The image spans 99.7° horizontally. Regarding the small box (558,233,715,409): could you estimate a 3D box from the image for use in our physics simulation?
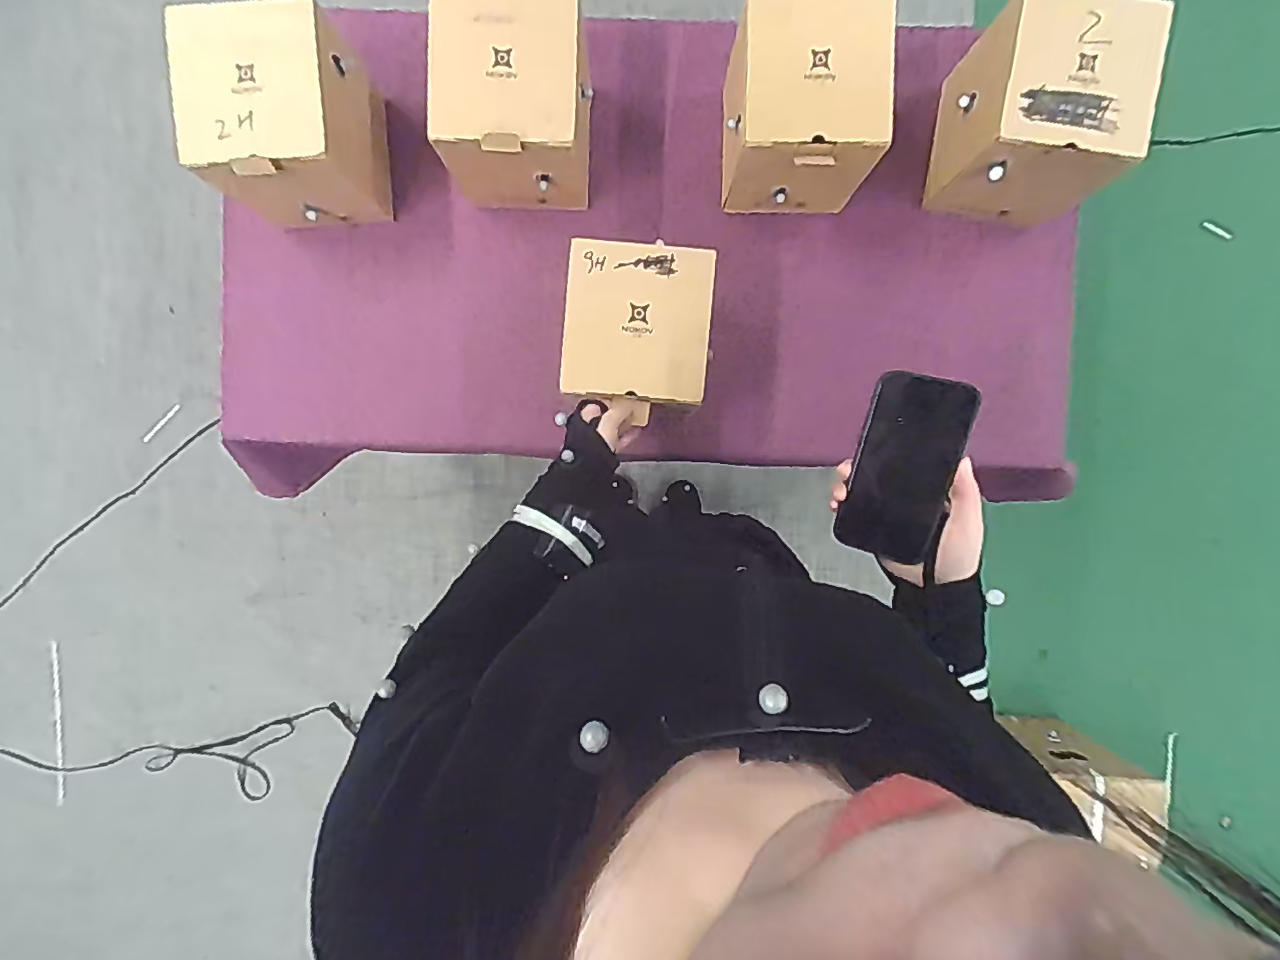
[{"bbox_3d":[-0.003,-0.187,0.685,0.168,0.176,0.179,5,93,0],"label":"small box"}]

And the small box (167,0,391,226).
[{"bbox_3d":[-0.434,-0.445,0.676,0.168,0.176,0.179,-3,93,1],"label":"small box"}]

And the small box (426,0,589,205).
[{"bbox_3d":[-0.153,-0.467,0.675,0.168,0.176,0.179,2,92,-1],"label":"small box"}]

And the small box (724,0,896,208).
[{"bbox_3d":[0.197,-0.466,0.673,0.168,0.176,0.179,0,93,1],"label":"small box"}]
